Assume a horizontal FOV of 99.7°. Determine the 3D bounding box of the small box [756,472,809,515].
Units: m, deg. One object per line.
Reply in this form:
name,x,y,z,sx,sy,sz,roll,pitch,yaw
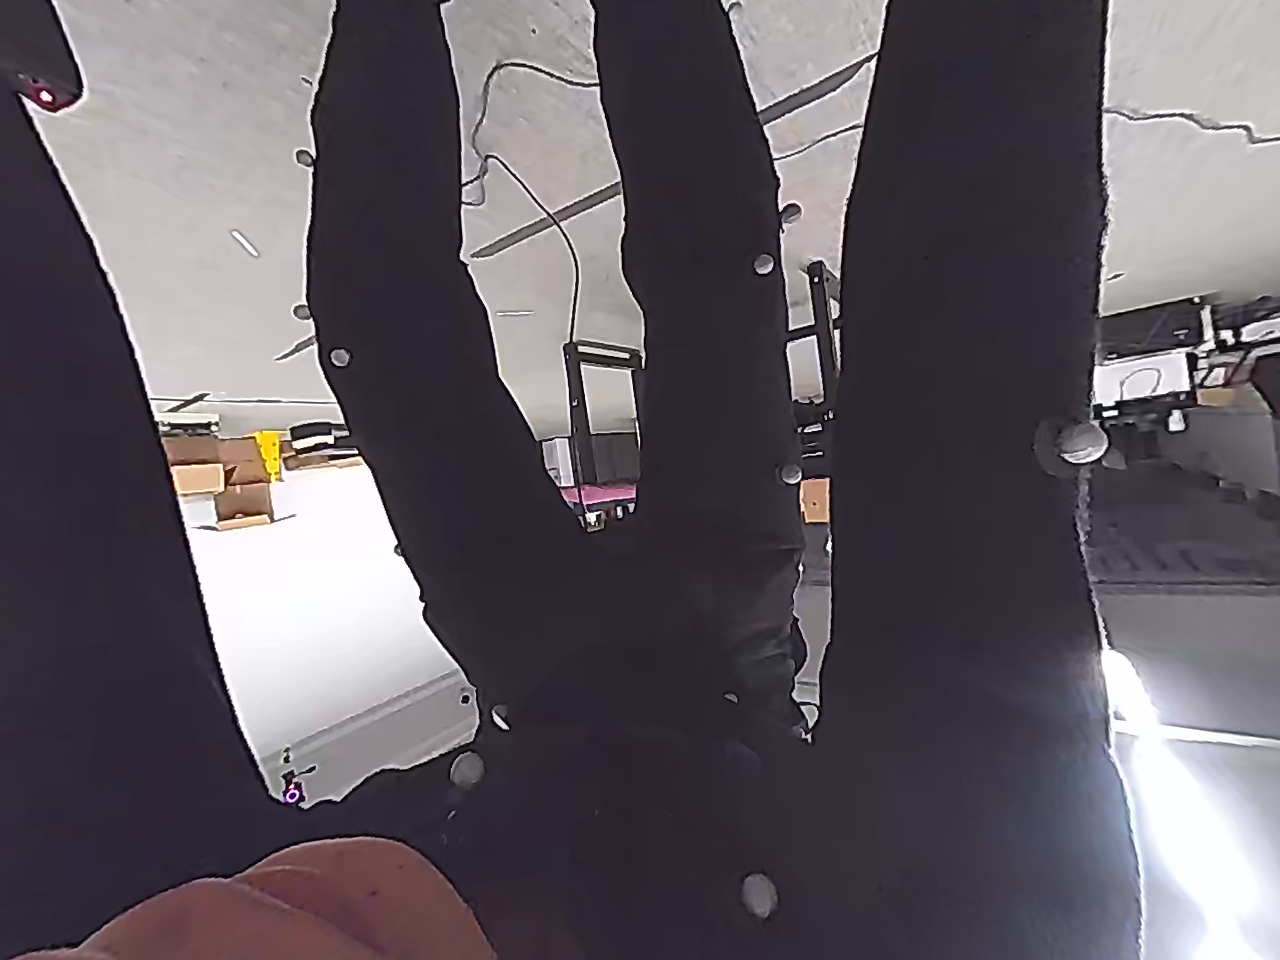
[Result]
small box,0.627,0.058,2.374,0.168,0.176,0.179,-7,180,37
